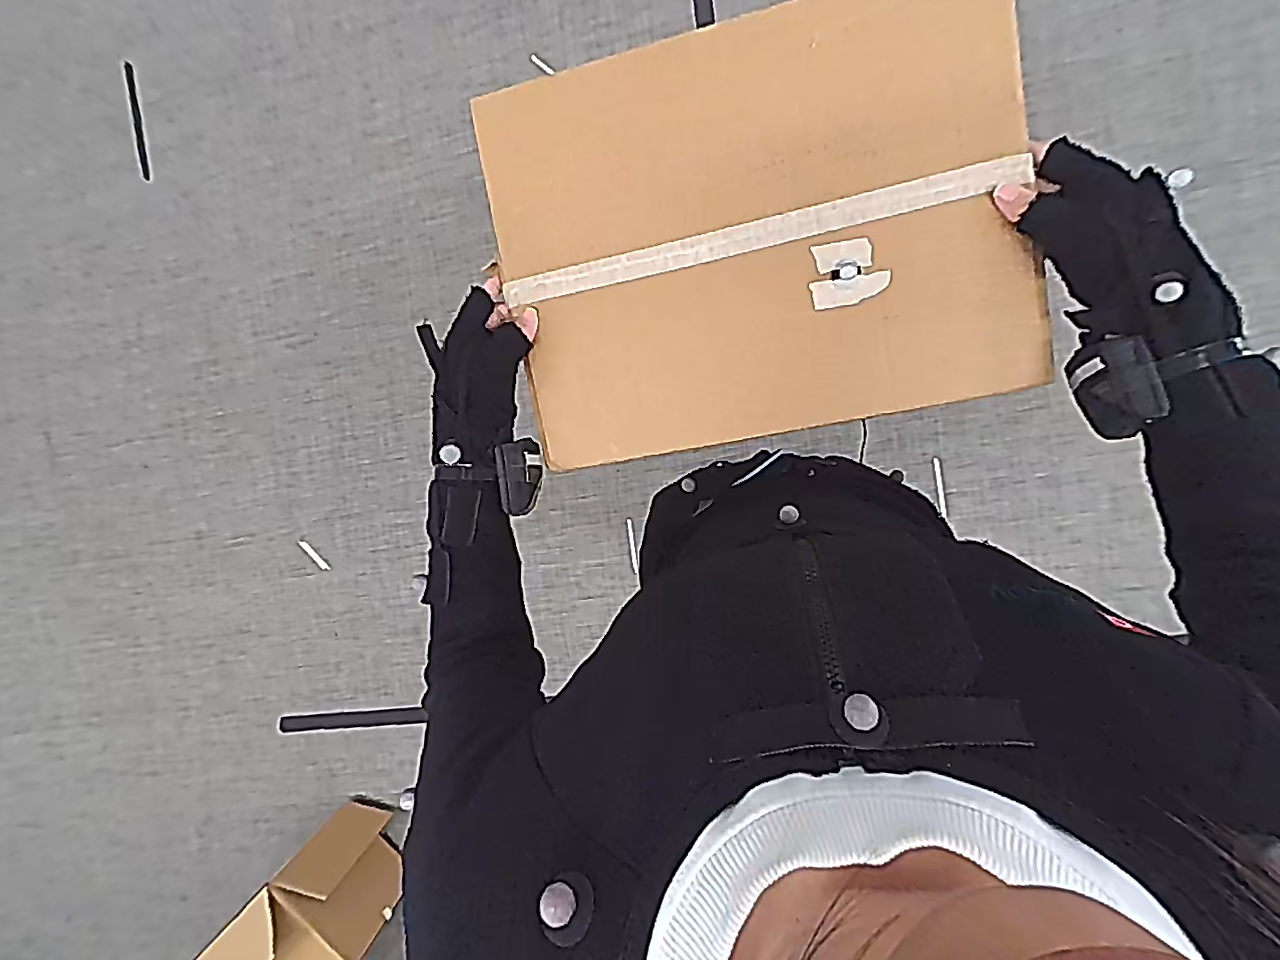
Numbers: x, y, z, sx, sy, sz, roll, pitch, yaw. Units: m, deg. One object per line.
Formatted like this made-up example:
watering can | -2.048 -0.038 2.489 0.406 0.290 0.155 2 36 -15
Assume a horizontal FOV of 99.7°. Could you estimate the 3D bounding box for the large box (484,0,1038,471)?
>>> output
large box | 0.108 -0.212 0.584 0.408 0.320 0.320 -11 97 9
